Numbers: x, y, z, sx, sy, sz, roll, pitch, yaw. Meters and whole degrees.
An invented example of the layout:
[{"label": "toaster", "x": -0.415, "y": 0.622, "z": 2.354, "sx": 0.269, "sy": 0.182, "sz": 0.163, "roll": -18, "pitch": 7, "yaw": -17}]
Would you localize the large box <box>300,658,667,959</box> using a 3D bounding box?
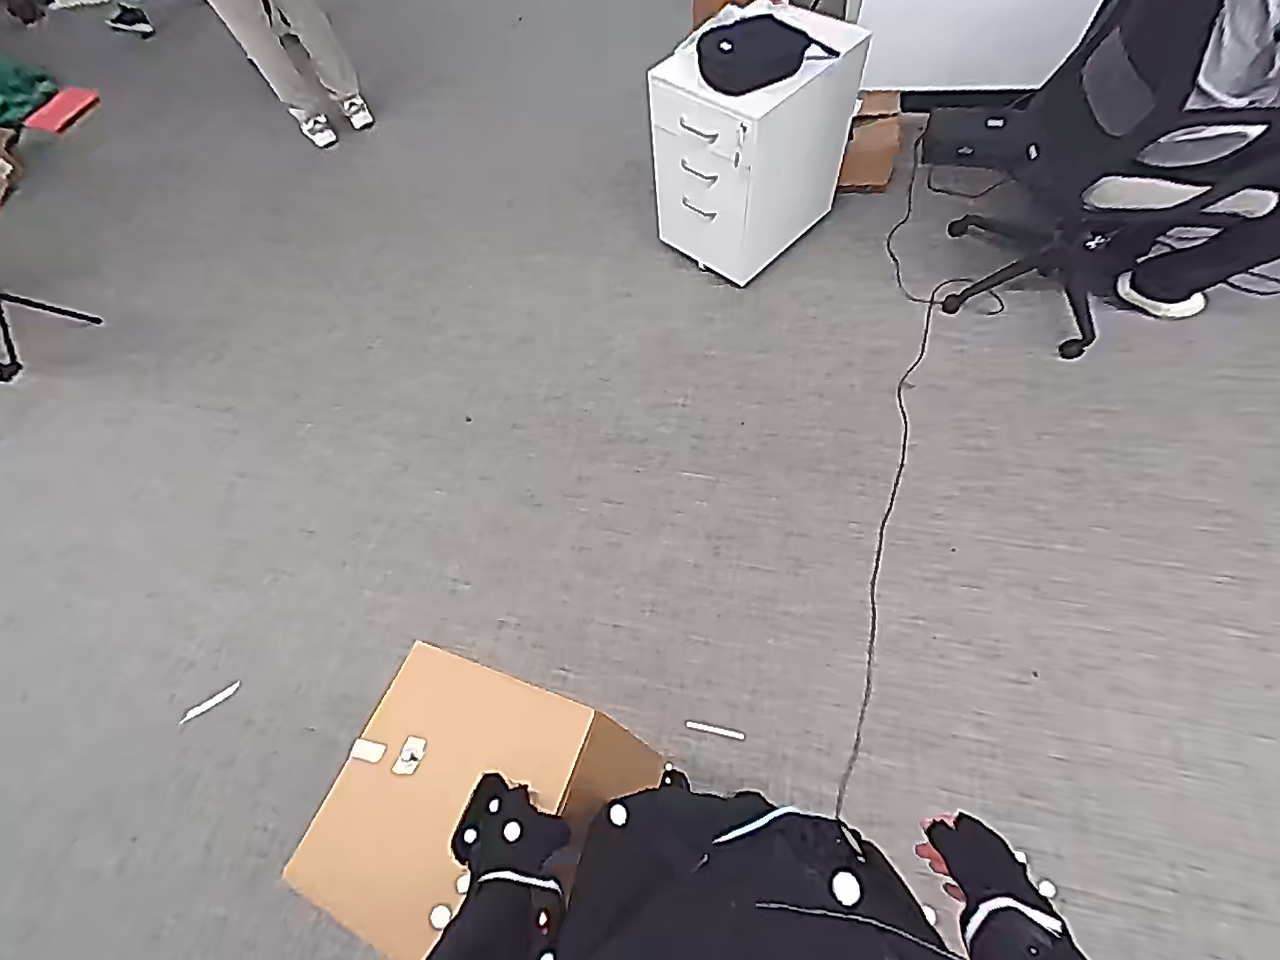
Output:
[{"label": "large box", "x": -0.189, "y": 0.511, "z": 0.825, "sx": 0.320, "sy": 0.408, "sz": 0.320, "roll": 12, "pitch": 61, "yaw": 24}]
